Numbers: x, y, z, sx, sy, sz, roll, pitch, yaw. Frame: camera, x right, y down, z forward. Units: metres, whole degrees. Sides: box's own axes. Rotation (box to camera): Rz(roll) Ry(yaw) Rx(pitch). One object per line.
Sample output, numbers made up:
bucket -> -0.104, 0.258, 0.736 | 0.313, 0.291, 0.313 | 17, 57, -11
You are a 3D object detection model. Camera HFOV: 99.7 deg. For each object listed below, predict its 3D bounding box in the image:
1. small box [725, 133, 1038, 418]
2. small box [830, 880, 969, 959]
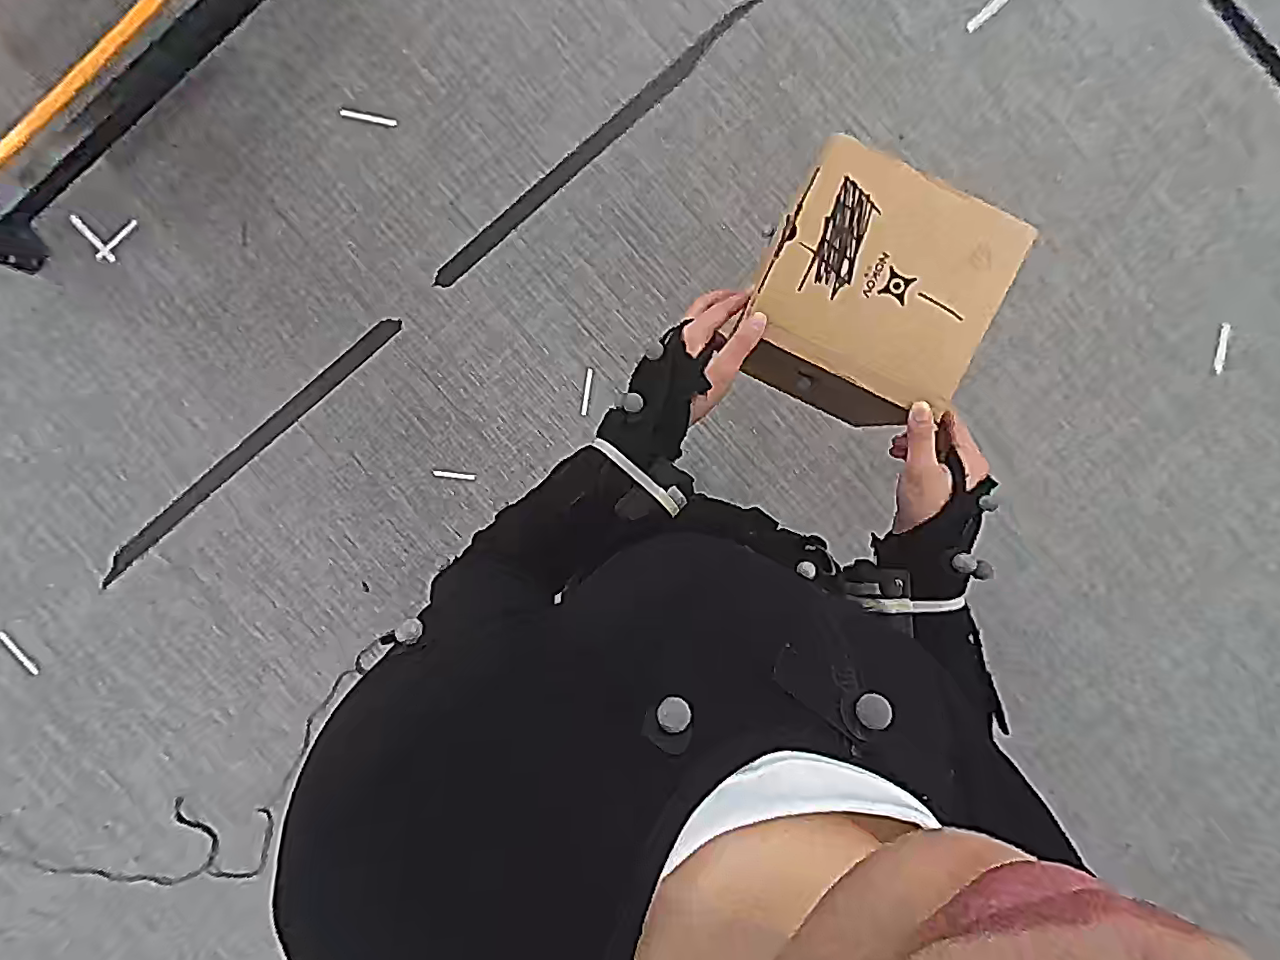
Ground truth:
small box -> 0.194, -0.162, 0.497 | 0.179, 0.176, 0.168 | 25, 95, -2
small box -> 0.425, 0.774, 0.827 | 0.179, 0.176, 0.168 | -34, 90, 3
